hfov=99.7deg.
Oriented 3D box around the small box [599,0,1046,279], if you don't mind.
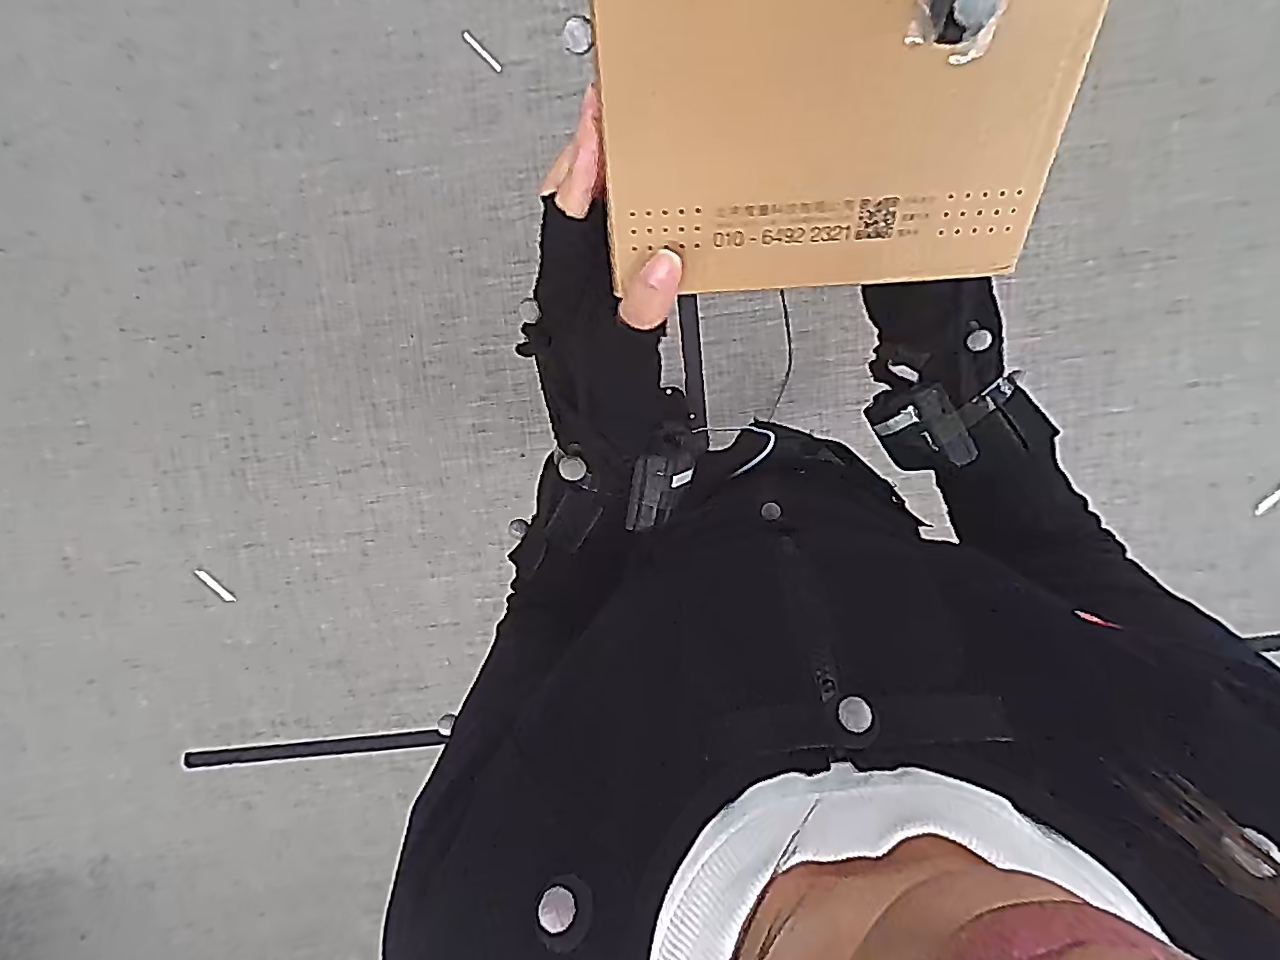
[{"bbox_3d":[0.069,-0.204,0.265,0.168,0.179,0.176,-2,127,1],"label":"small box"}]
